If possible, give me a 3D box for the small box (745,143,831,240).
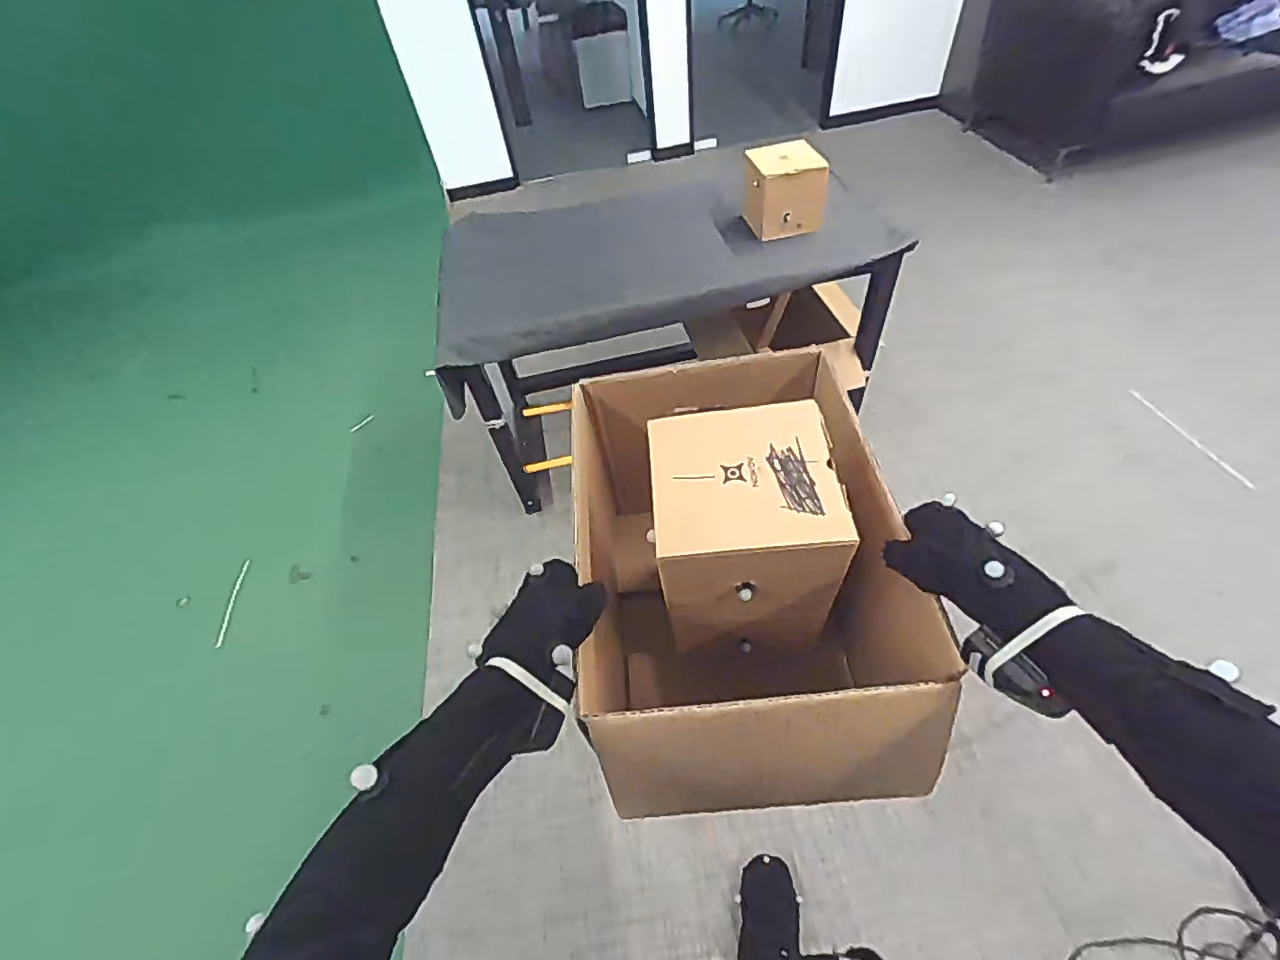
[{"bbox_3d":[0.382,-0.764,1.436,0.168,0.176,0.179,-12,51,-2],"label":"small box"}]
